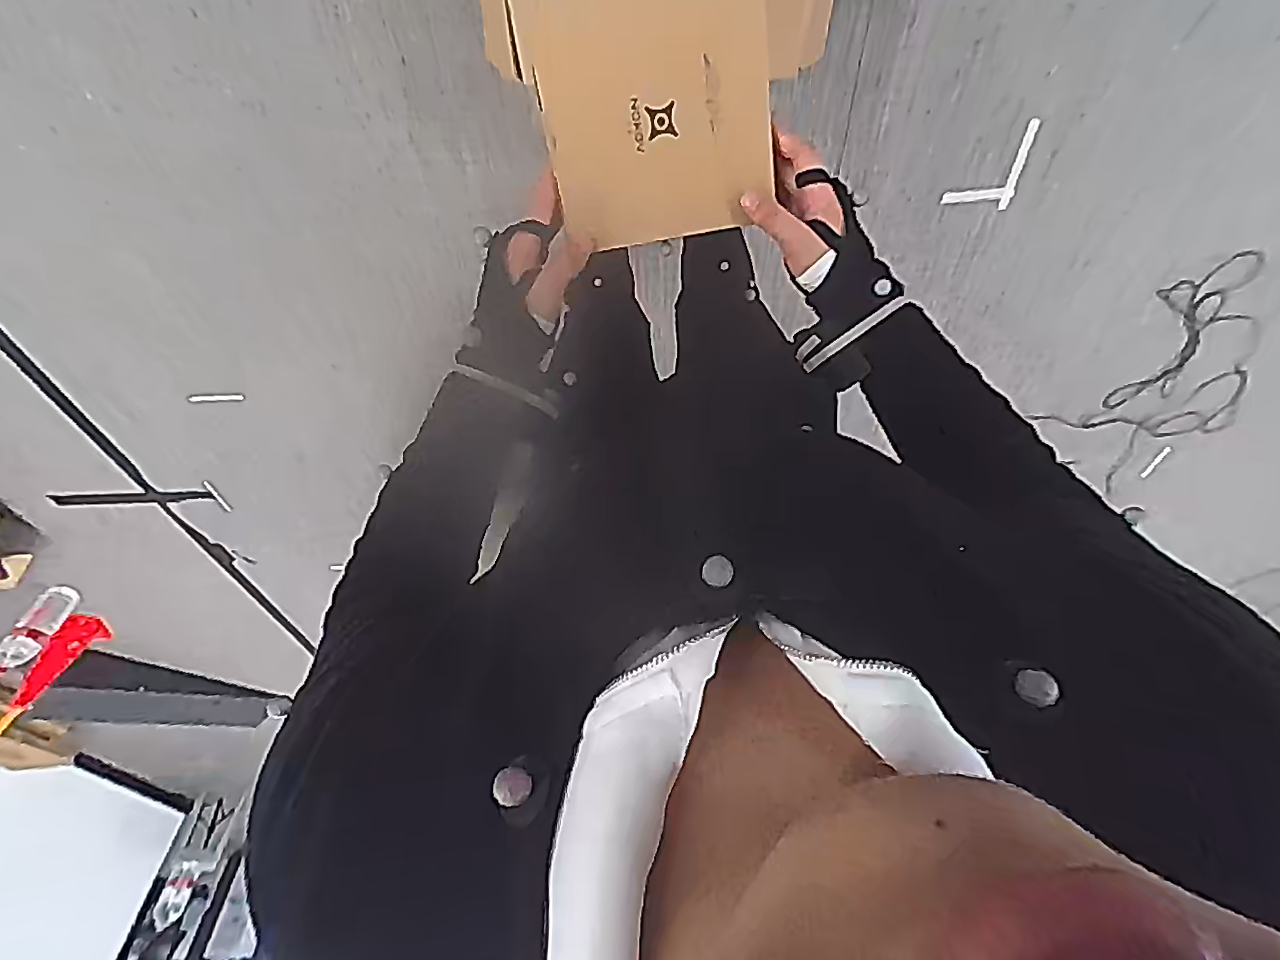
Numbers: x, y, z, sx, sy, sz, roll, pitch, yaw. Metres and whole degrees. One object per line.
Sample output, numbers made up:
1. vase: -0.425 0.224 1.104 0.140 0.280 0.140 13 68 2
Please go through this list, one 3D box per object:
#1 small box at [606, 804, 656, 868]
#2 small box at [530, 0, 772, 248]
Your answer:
1. small box: -0.034 1.293 1.965 0.179 0.176 0.168 -1 136 -1
2. small box: 0.015 -0.318 0.503 0.179 0.176 0.168 -9 116 4
